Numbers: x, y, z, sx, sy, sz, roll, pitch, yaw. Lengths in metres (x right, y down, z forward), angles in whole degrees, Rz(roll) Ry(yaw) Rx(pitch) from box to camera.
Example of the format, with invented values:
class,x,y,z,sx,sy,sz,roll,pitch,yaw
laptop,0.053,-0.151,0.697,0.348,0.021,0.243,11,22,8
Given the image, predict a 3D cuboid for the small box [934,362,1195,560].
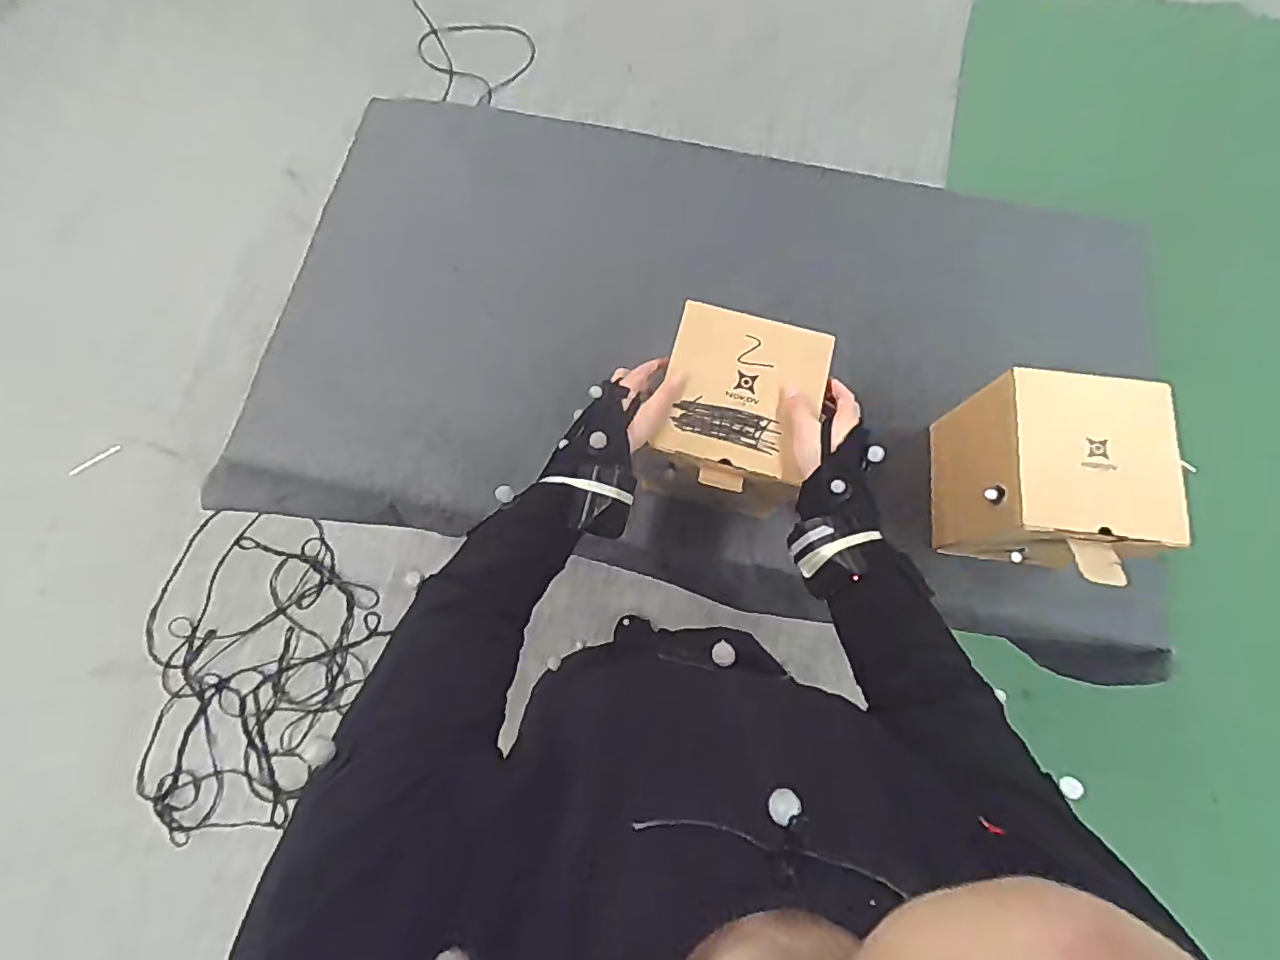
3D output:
class,x,y,z,sx,sy,sz,roll,pitch,yaw
small box,0.462,-0.011,0.620,0.168,0.176,0.179,6,76,1
